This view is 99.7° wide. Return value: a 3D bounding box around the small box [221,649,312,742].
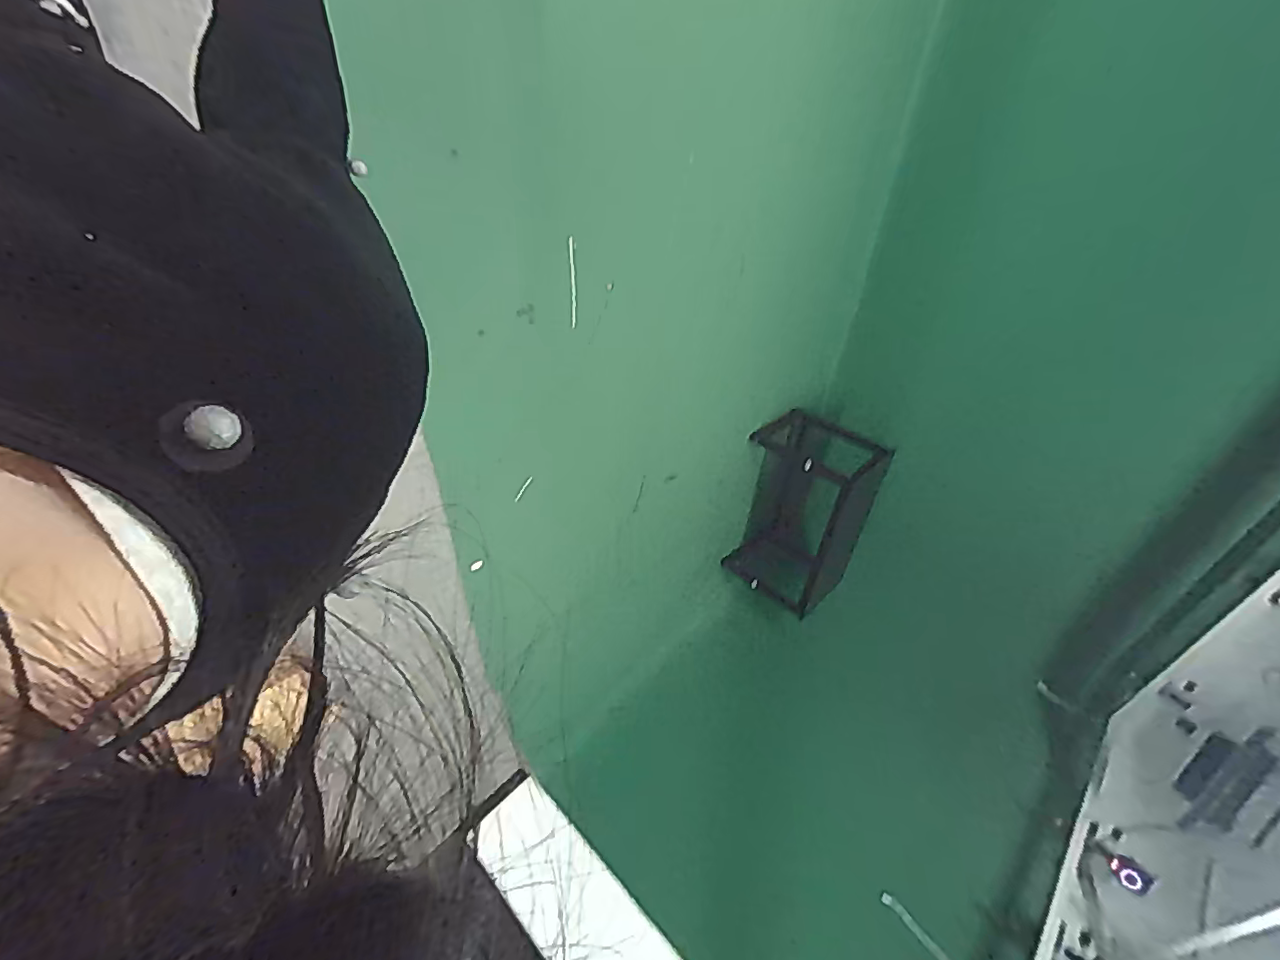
[{"bbox_3d":[-1.145,0.649,1.657,0.168,0.176,0.179,-27,136,-38],"label":"small box"}]
